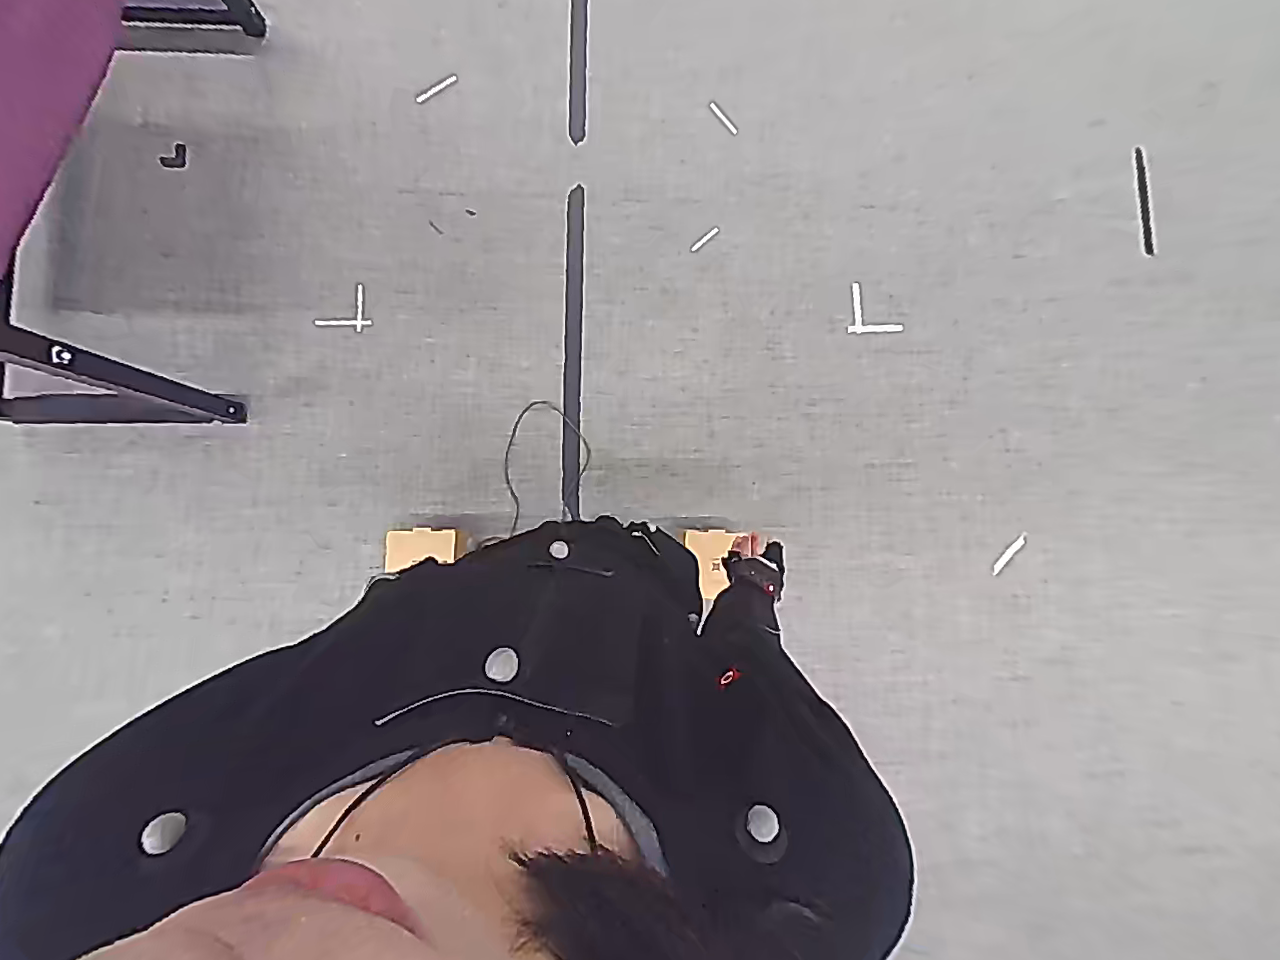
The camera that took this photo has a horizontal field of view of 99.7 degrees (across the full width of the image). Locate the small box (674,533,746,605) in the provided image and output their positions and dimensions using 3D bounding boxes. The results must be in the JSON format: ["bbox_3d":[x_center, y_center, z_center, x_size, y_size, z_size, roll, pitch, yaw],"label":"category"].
[{"bbox_3d":[0.183,0.234,1.456,0.168,0.176,0.179,2,86,-4],"label":"small box"}]

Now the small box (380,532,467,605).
[{"bbox_3d":[-0.548,0.226,1.389,0.168,0.176,0.179,0,82,-5],"label":"small box"}]
